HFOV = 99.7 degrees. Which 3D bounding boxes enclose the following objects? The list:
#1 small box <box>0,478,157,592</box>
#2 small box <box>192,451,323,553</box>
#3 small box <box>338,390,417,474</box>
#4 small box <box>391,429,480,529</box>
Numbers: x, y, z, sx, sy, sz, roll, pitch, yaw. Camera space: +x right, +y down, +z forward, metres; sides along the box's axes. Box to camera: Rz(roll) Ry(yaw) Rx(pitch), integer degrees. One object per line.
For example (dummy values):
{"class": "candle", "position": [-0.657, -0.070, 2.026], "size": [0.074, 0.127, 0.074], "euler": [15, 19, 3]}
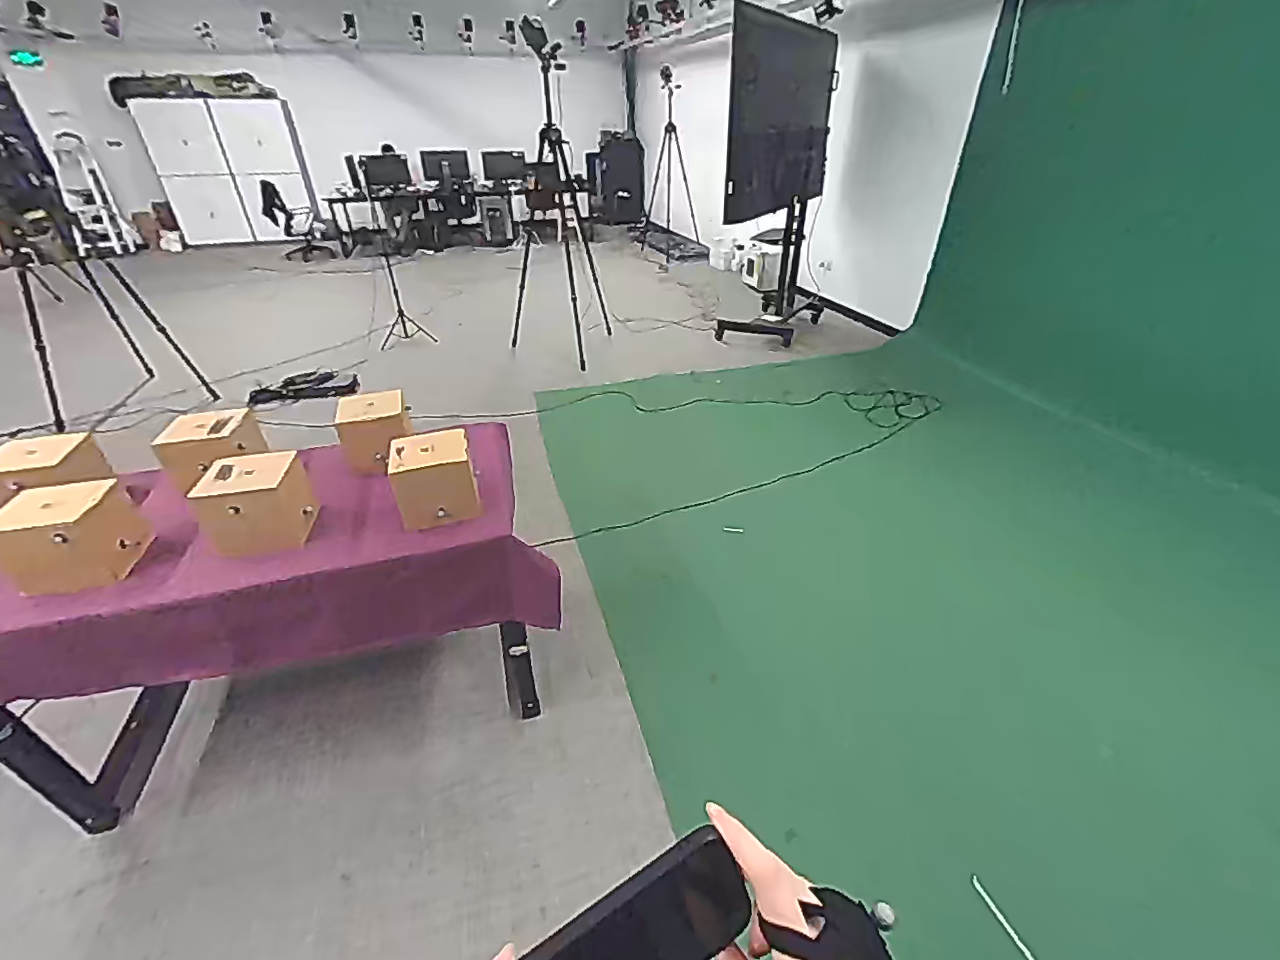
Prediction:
{"class": "small box", "position": [-1.206, 0.119, 1.160], "size": [0.179, 0.176, 0.168], "euler": [-8, 34, -13]}
{"class": "small box", "position": [-0.872, 0.051, 1.253], "size": [0.179, 0.176, 0.168], "euler": [-7, 34, -11]}
{"class": "small box", "position": [-0.734, -0.138, 1.533], "size": [0.168, 0.176, 0.179], "euler": [-12, 35, -15]}
{"class": "small box", "position": [-0.493, -0.003, 1.325], "size": [0.179, 0.176, 0.168], "euler": [-10, 34, -14]}
